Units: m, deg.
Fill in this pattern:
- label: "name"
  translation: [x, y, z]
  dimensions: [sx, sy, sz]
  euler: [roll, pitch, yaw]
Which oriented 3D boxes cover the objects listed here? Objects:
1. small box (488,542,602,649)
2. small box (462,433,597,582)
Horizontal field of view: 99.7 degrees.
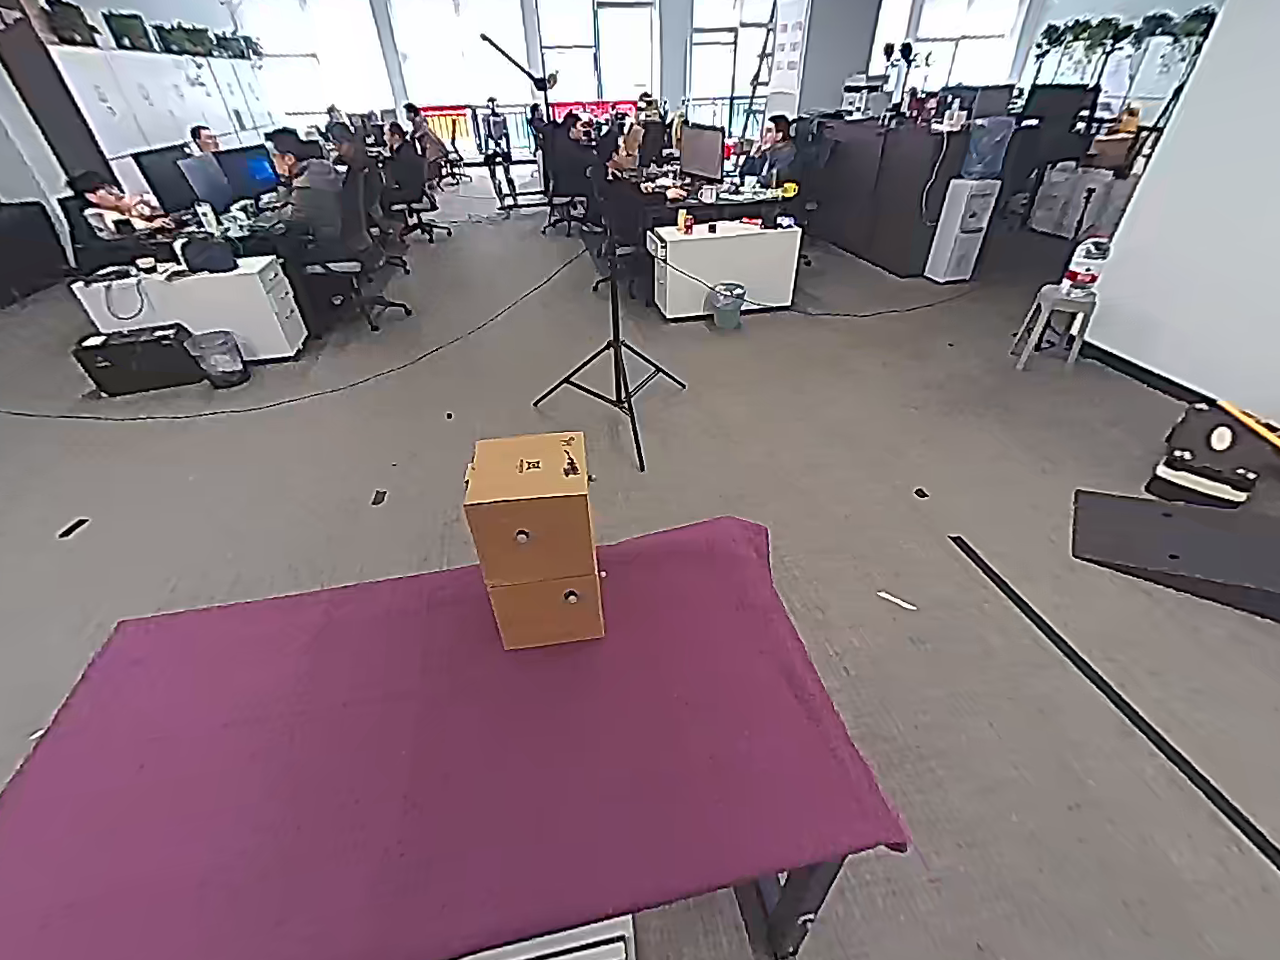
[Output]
- label: "small box"
  translation: [-0.162, 0.177, 0.962]
  dimensions: [0.179, 0.176, 0.168]
  euler: [-7, 38, -6]
- label: "small box"
  translation: [-0.167, 0.045, 0.864]
  dimensions: [0.179, 0.176, 0.168]
  euler: [-6, 38, -4]
